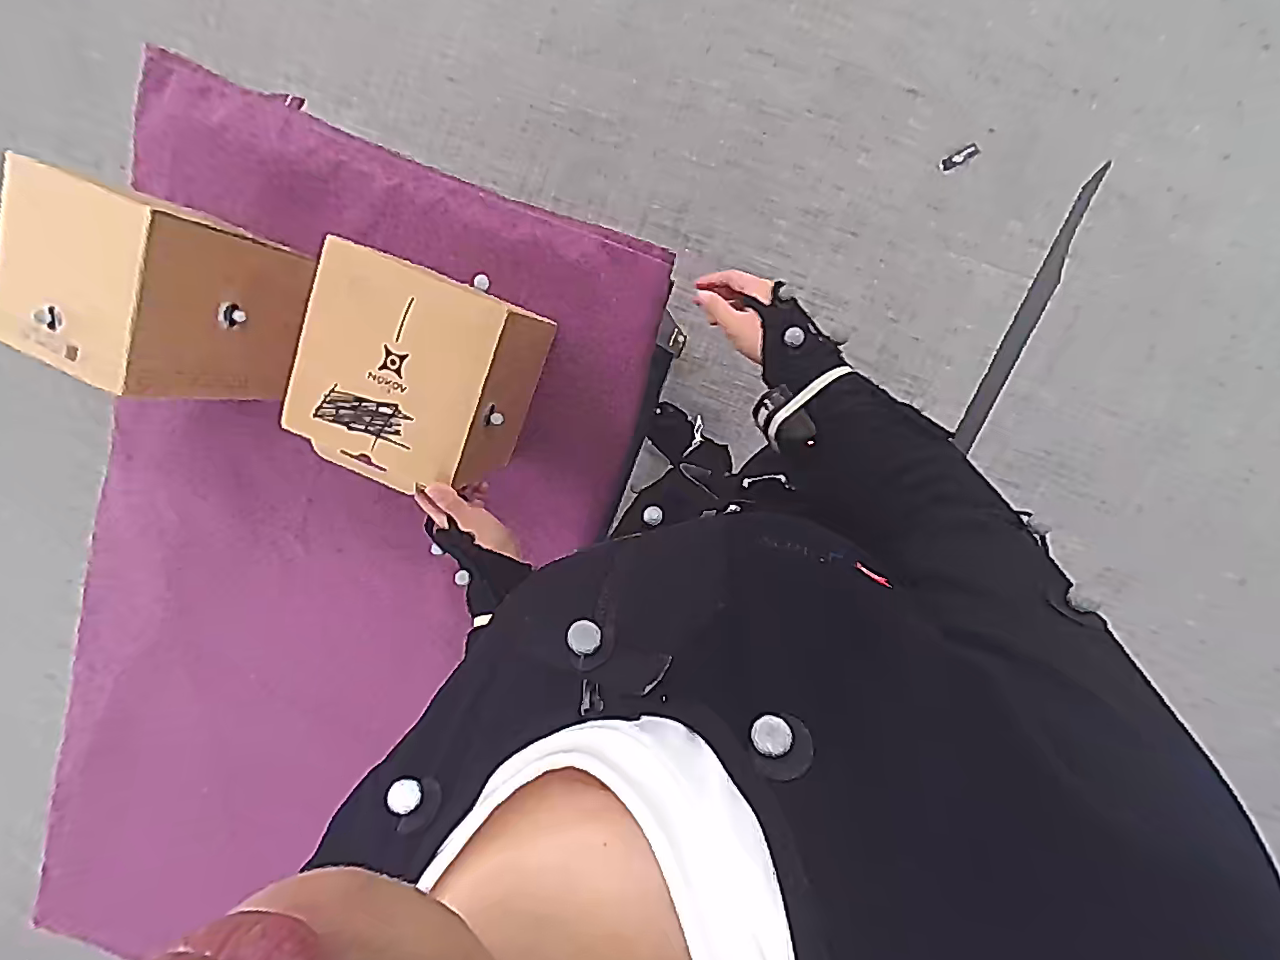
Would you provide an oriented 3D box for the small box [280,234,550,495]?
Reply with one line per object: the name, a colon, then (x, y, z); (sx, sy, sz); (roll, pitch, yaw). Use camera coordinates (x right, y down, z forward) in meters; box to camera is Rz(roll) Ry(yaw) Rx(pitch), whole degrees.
small box: (-0.206, -0.109, 0.538); (0.168, 0.176, 0.179); (23, 102, 1)
